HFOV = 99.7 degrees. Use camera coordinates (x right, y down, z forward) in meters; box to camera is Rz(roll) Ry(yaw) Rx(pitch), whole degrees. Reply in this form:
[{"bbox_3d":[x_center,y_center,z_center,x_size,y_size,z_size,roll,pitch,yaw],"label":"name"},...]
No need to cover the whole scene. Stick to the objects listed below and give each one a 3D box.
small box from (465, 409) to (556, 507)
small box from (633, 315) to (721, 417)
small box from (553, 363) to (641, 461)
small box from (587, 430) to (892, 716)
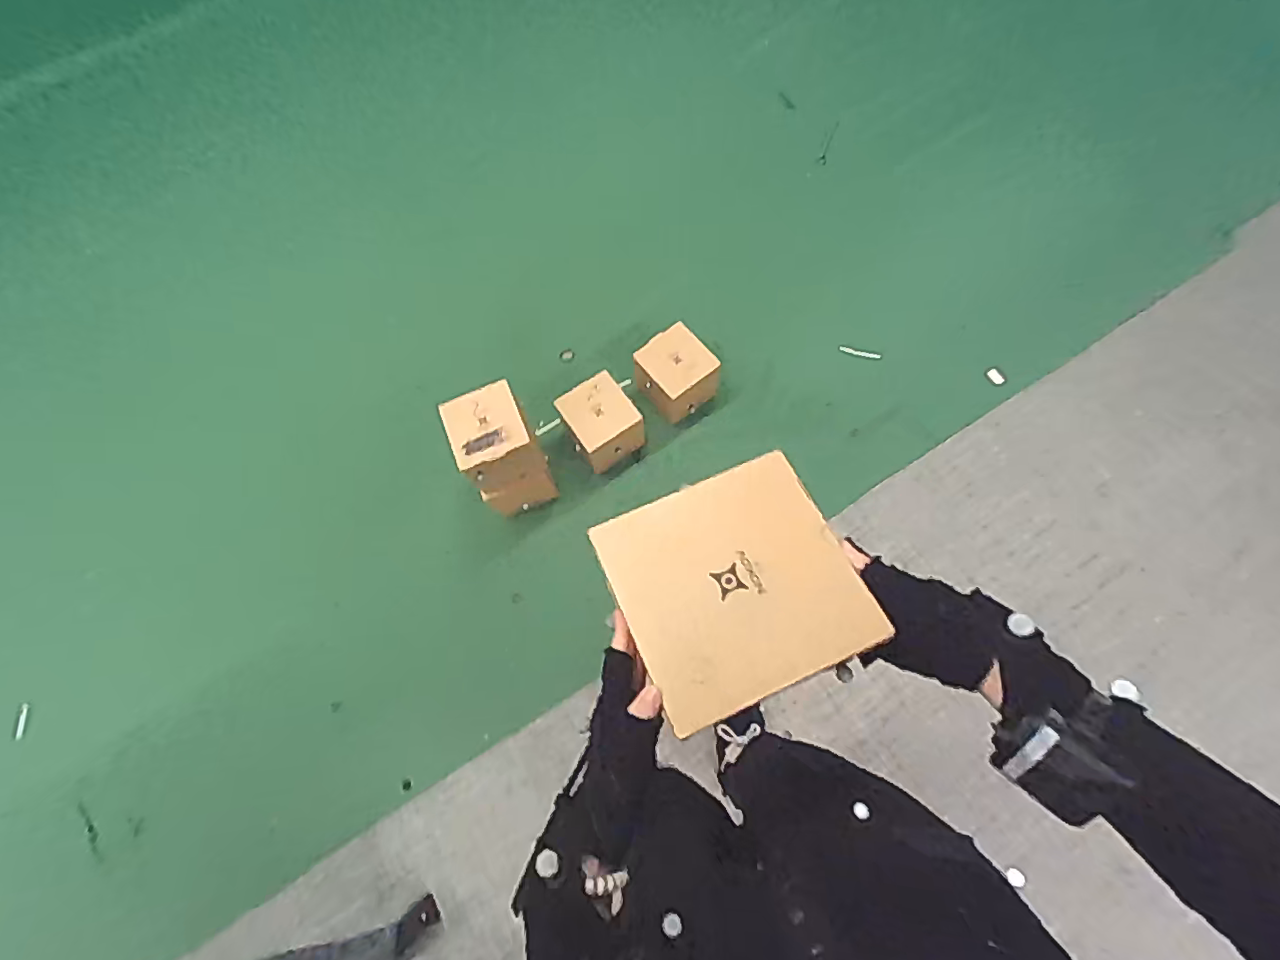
[{"bbox_3d":[-0.333,-0.052,1.410,0.168,0.176,0.179,-21,73,-4],"label":"small box"},{"bbox_3d":[0.097,-0.306,1.483,0.168,0.176,0.179,-36,73,-10],"label":"small box"},{"bbox_3d":[-0.106,-0.170,1.442,0.168,0.176,0.179,-33,72,-10],"label":"small box"},{"bbox_3d":[0.071,0.091,0.471,0.179,0.176,0.168,-23,67,-10],"label":"small box"}]
